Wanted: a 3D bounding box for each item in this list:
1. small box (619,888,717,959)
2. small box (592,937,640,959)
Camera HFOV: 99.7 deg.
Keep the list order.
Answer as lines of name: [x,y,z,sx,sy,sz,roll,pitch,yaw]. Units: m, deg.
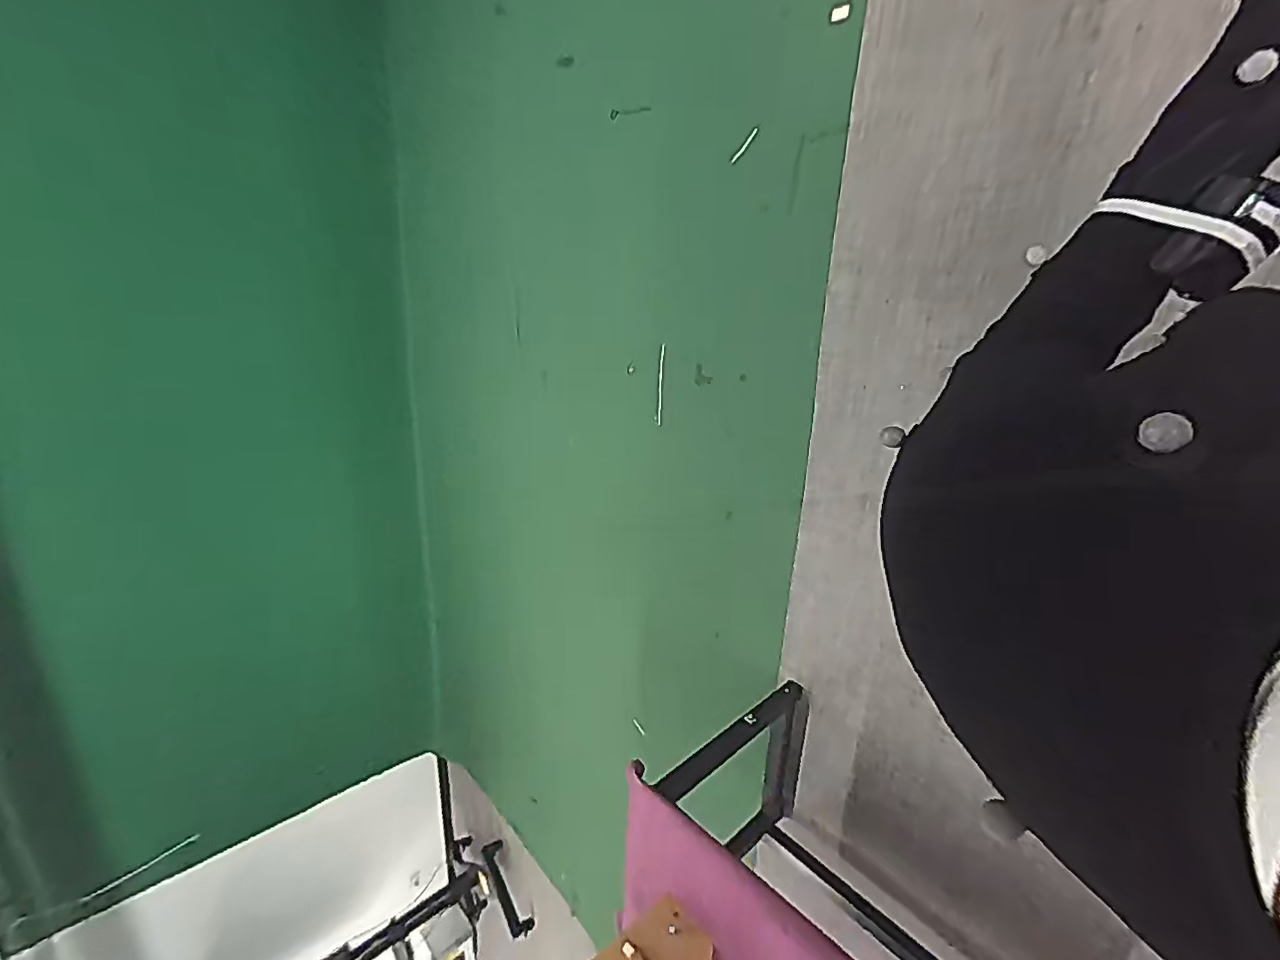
small box: [0.066,1.134,1.276,0.168,0.176,0.179,16,112,43]
small box: [-0.054,1.167,1.171,0.168,0.176,0.179,17,112,44]
